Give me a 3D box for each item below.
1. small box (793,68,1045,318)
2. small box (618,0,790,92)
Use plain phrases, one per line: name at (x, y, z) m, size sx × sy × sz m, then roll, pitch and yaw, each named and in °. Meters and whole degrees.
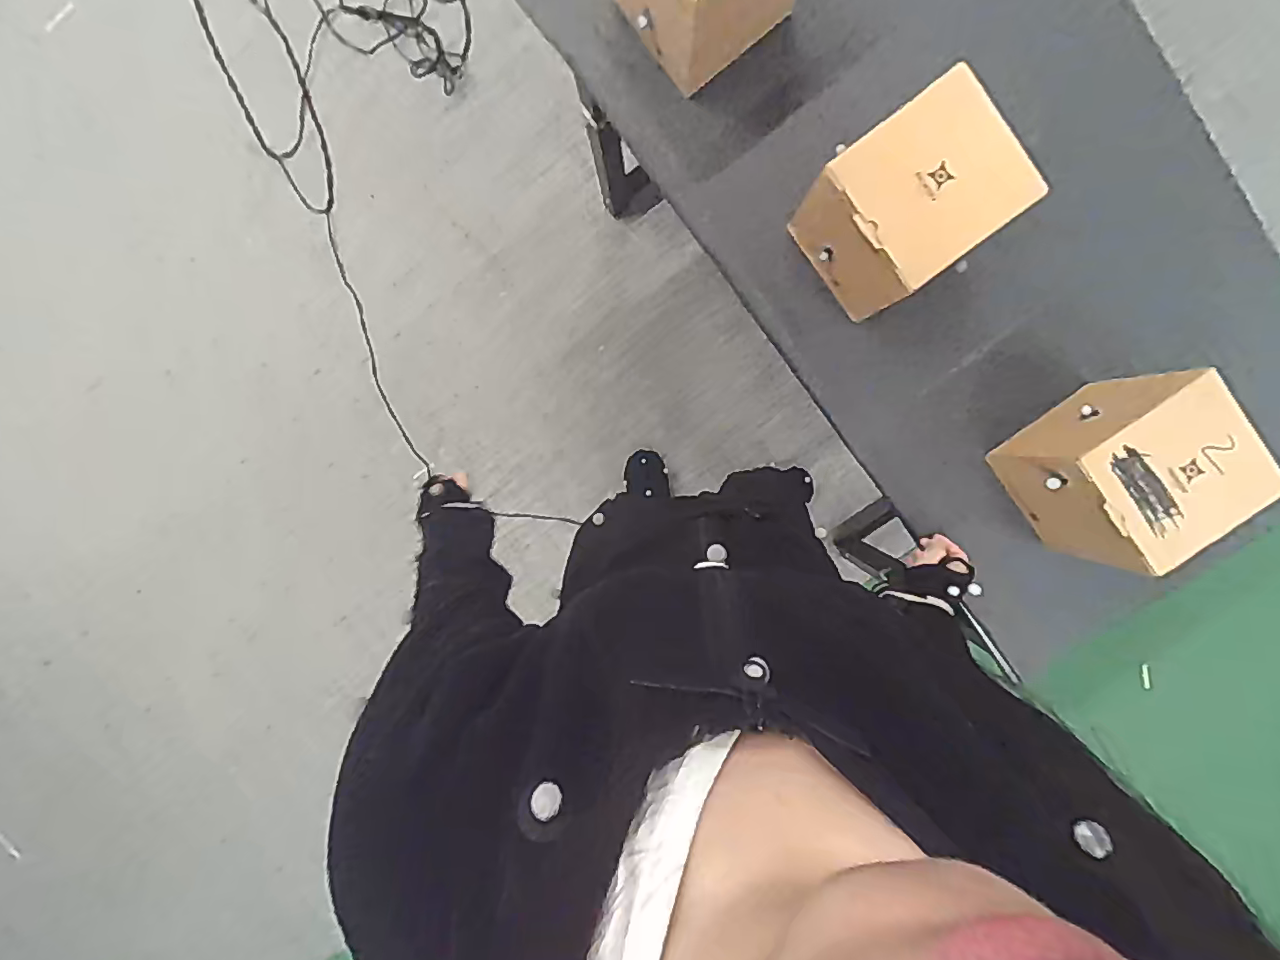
small box at (0.315, -0.324, 0.652) m, size 0.179 × 0.176 × 0.168 m, roll -37°, pitch 94°, yaw 4°
small box at (0.081, -0.615, 0.625) m, size 0.179 × 0.176 × 0.168 m, roll -37°, pitch 93°, yaw 4°
